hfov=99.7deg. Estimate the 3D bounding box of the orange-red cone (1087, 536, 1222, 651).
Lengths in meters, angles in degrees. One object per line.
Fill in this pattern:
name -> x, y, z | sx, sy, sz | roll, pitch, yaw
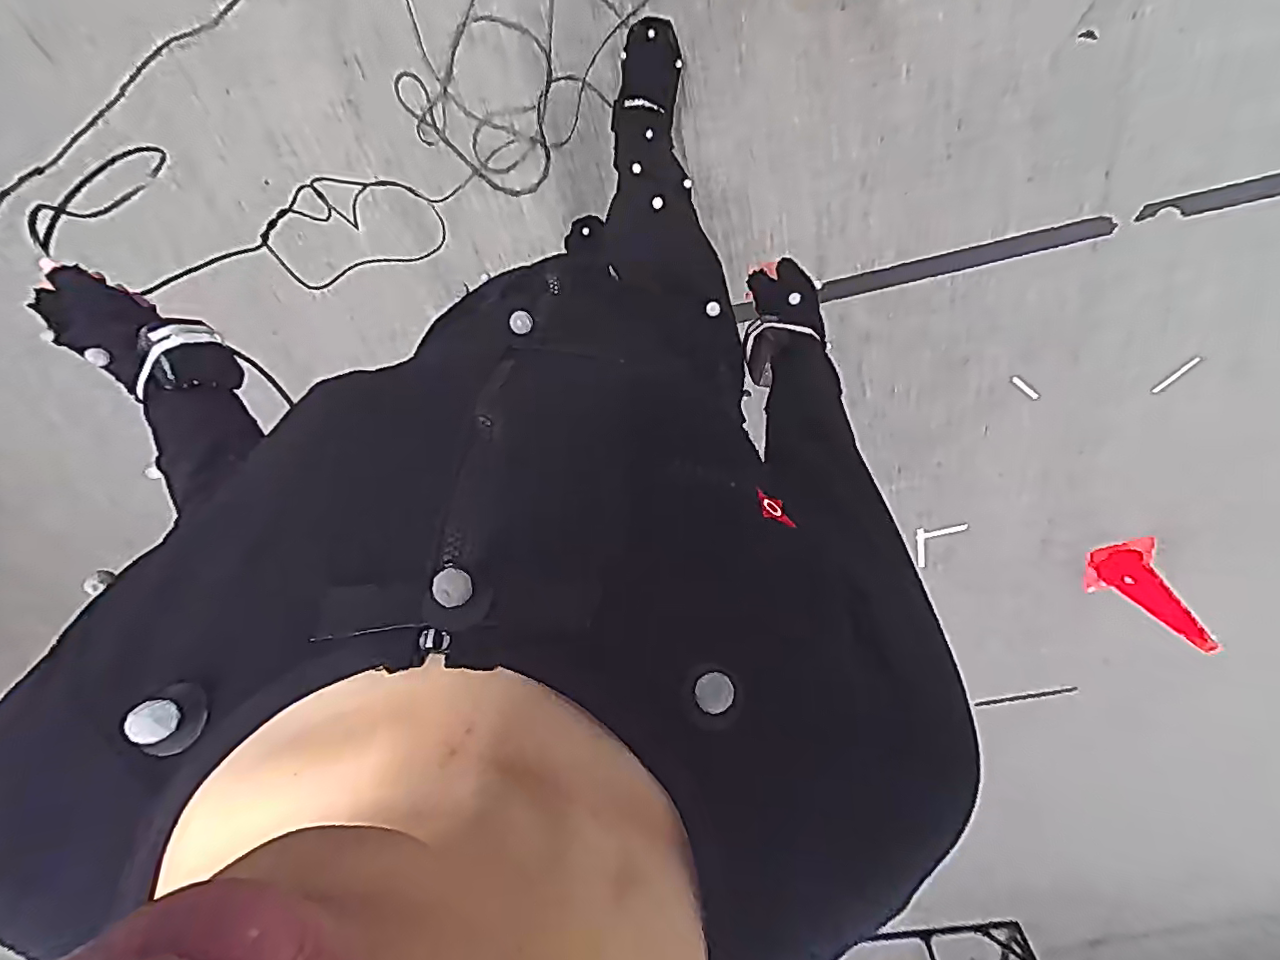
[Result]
orange-red cone -> 1.614, 0.371, 1.663 | 0.199, 0.360, 0.198 | -17, 122, 9
